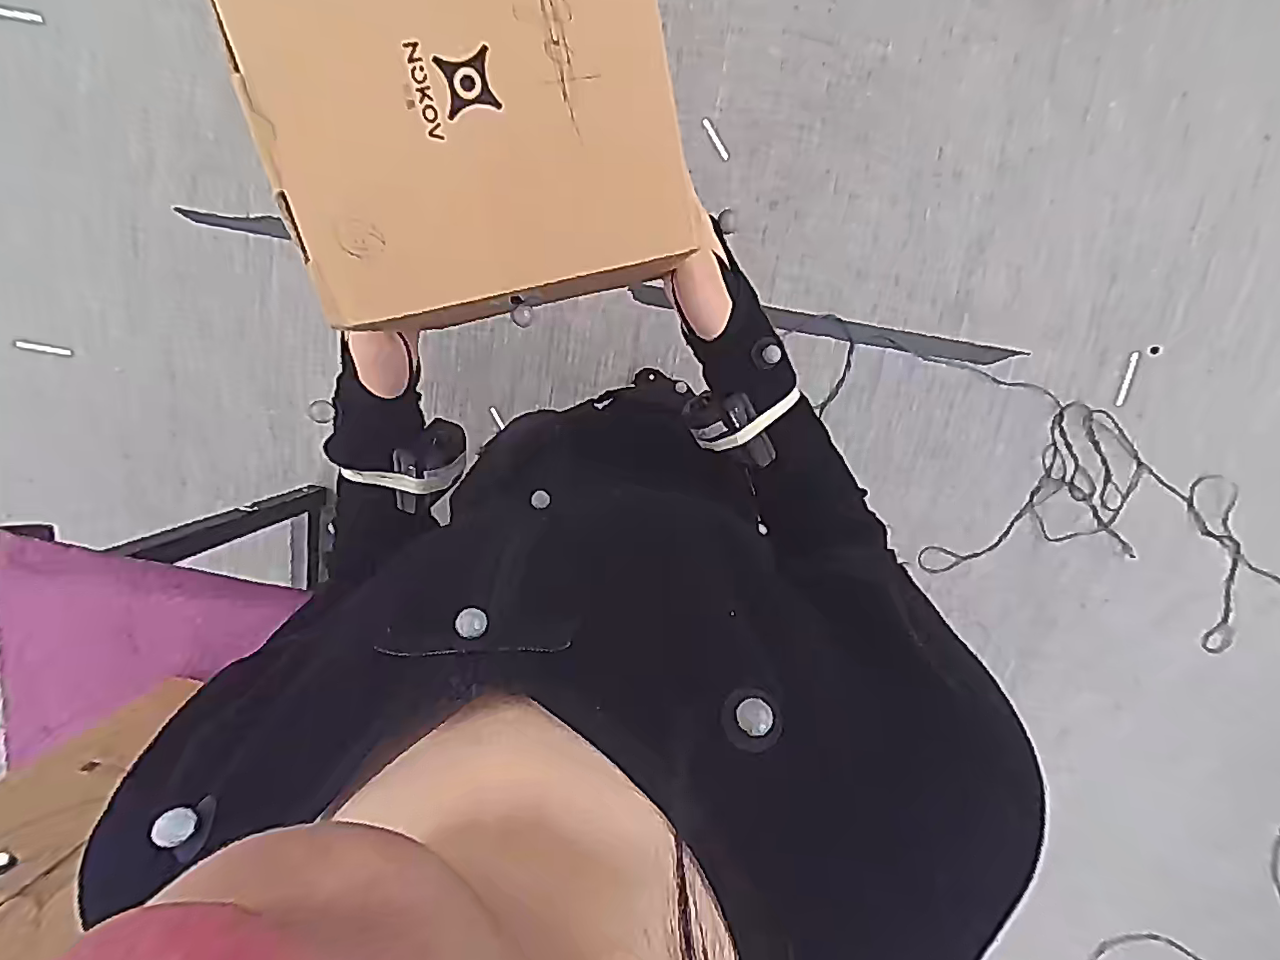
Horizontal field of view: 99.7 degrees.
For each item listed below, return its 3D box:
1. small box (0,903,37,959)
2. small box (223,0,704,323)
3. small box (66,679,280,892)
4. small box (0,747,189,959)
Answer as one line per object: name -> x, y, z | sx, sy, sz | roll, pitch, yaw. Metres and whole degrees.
small box -> -0.647, 0.459, 0.429 | 0.168, 0.176, 0.179 | 14, 101, -1
small box -> -0.074, -0.186, 0.301 | 0.179, 0.176, 0.168 | -13, 107, 0
small box -> -0.638, 0.412, 0.752 | 0.168, 0.176, 0.179 | 12, 100, -1
small box -> -0.643, 0.436, 0.591 | 0.168, 0.176, 0.179 | 14, 101, -1
